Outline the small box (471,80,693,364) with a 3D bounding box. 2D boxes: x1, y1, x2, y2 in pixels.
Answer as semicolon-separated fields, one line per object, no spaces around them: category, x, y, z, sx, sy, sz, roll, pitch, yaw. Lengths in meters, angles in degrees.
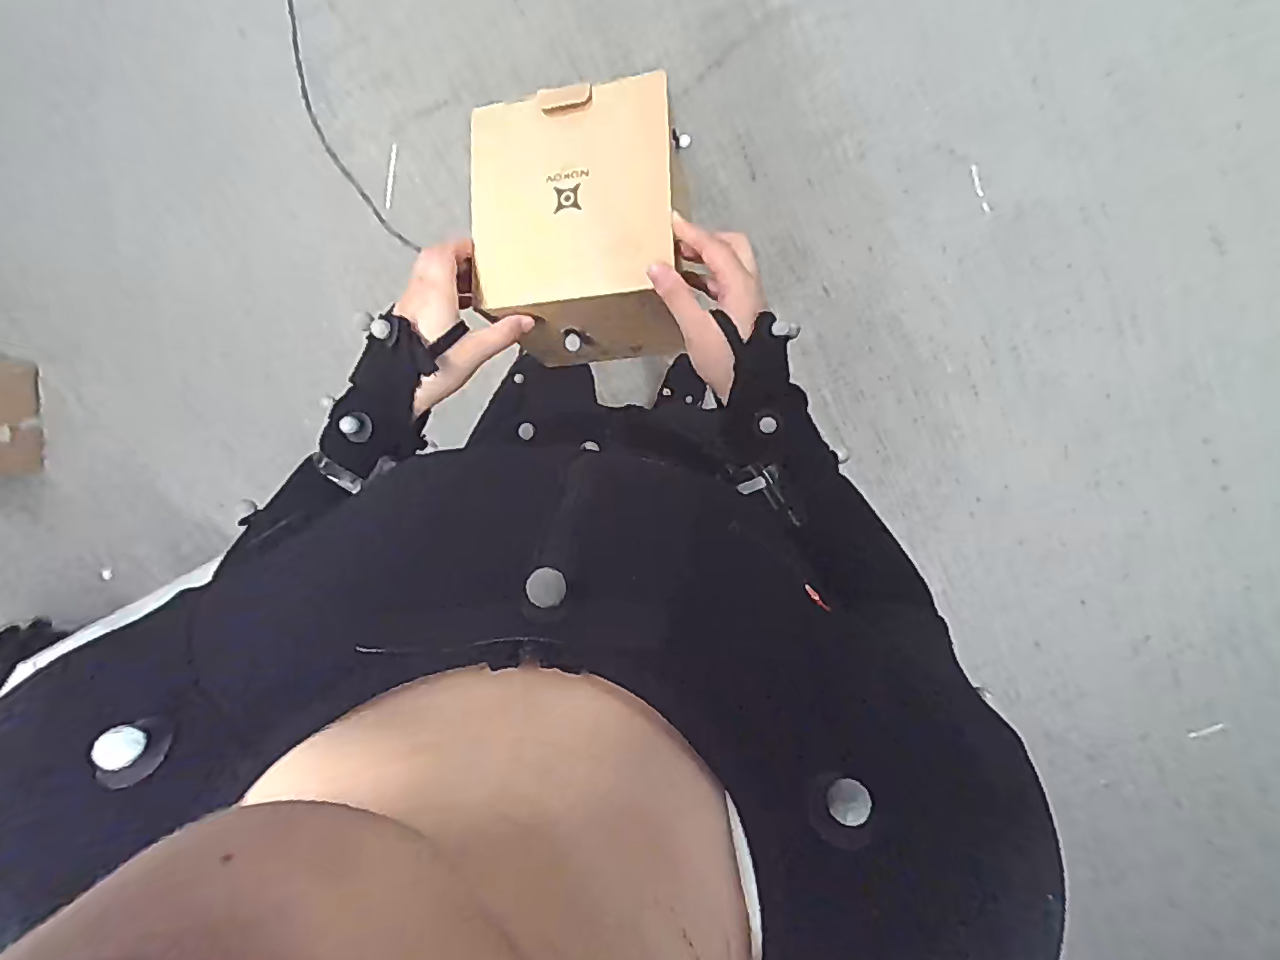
small box;-0.041;-0.213;0.502;0.168;0.176;0.179;-2;85;10
